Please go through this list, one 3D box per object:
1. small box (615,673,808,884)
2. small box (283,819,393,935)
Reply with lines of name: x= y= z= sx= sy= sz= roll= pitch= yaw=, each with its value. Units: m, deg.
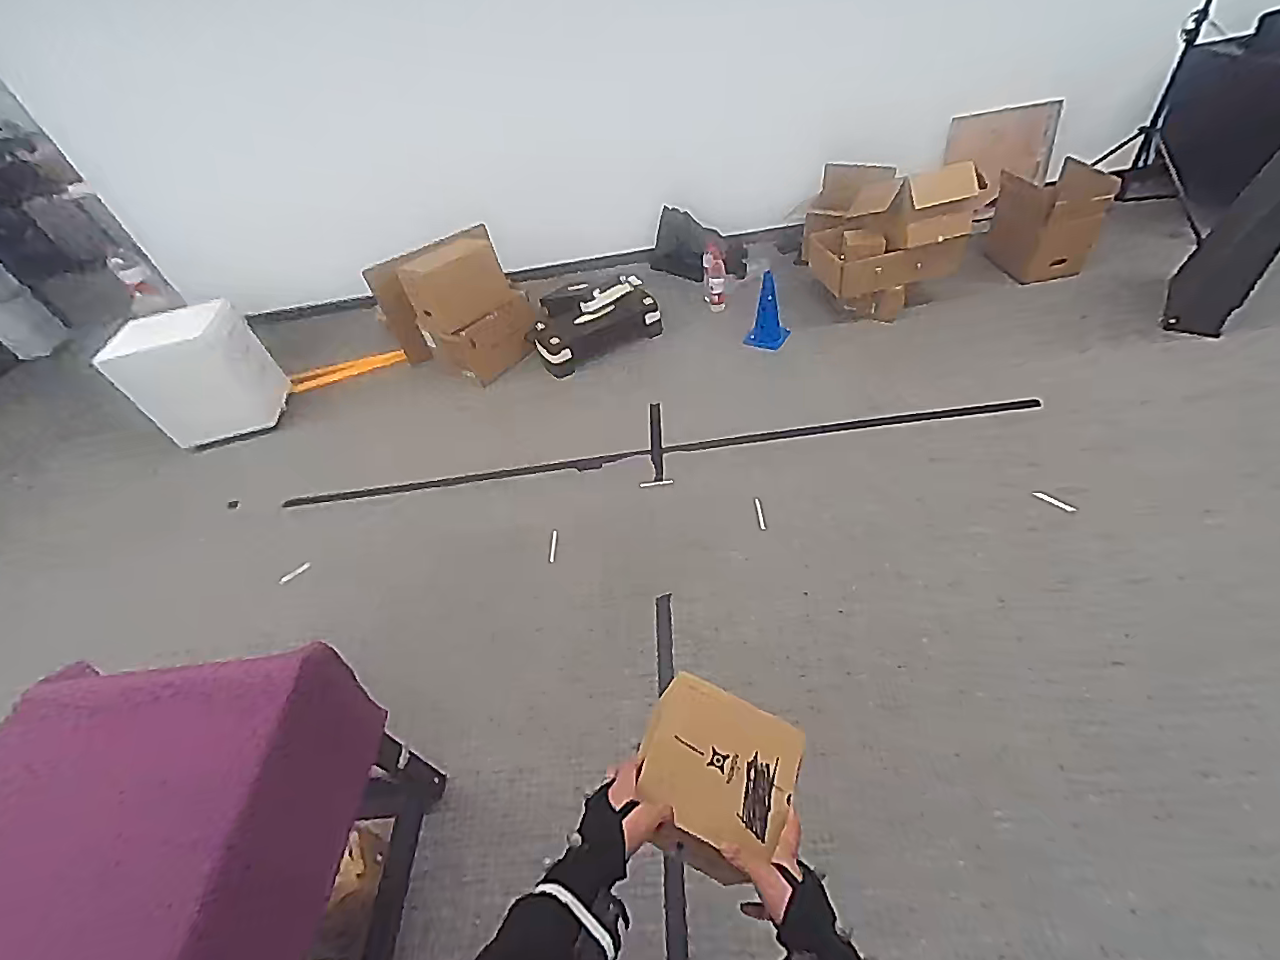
small box: x=0.086 y=0.385 z=0.697 sx=0.179 sy=0.176 sz=0.168 roll=26 pitch=51 yaw=8
small box: x=-0.757 y=1.002 z=1.362 sx=0.179 sy=0.176 sz=0.168 roll=-28 pitch=48 yaw=-14
